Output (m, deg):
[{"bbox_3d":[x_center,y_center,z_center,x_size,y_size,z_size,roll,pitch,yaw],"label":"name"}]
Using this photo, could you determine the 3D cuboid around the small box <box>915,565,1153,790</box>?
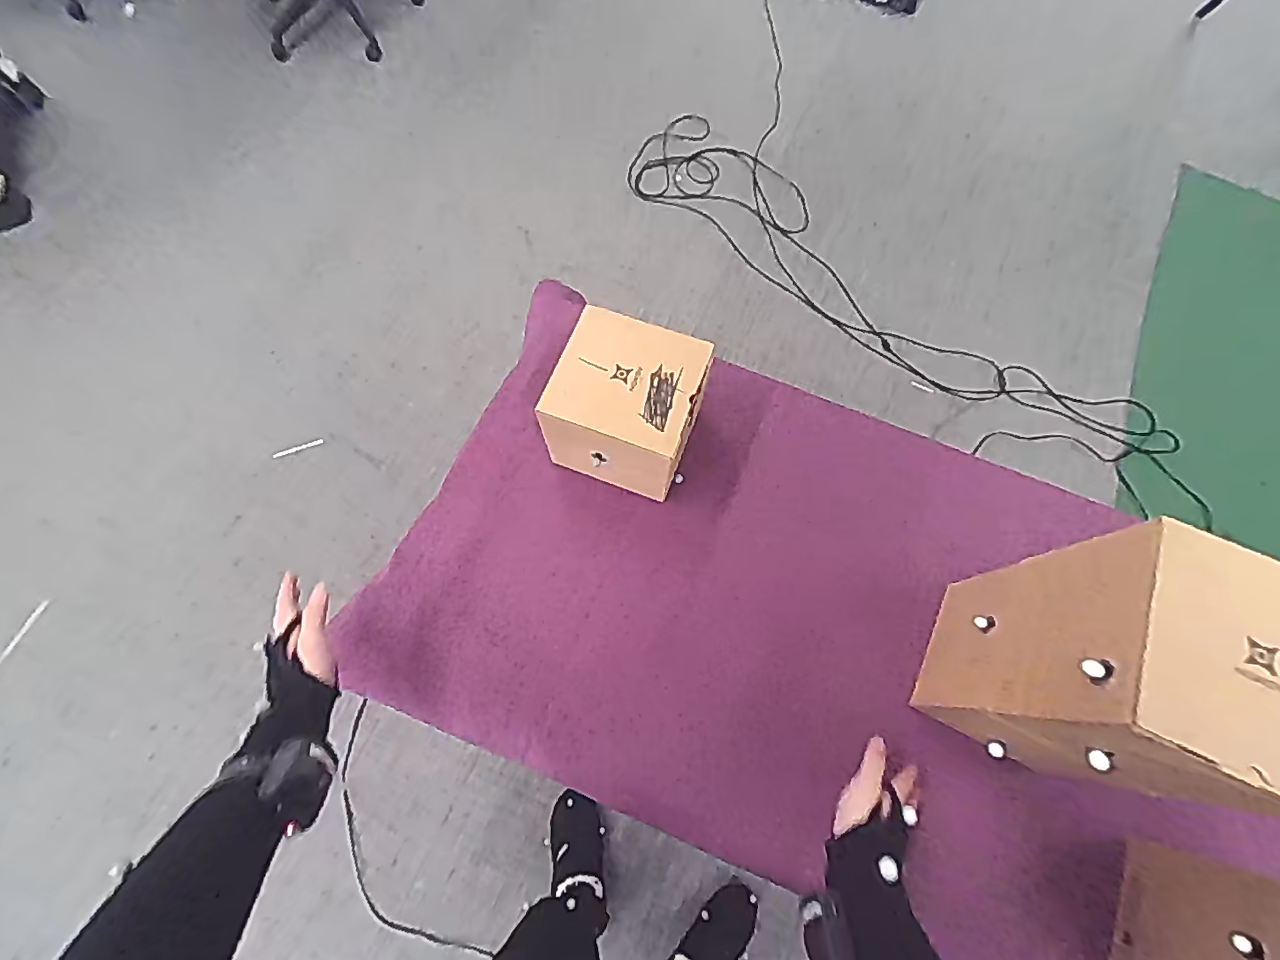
[{"bbox_3d":[0.455,0.217,0.629,0.168,0.176,0.179,27,72,9],"label":"small box"}]

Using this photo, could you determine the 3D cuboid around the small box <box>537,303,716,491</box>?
[{"bbox_3d":[-0.015,-0.099,0.730,0.179,0.176,0.168,20,71,6],"label":"small box"}]

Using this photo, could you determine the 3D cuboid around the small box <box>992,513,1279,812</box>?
[{"bbox_3d":[0.453,0.158,0.478,0.168,0.176,0.179,24,72,7],"label":"small box"}]
